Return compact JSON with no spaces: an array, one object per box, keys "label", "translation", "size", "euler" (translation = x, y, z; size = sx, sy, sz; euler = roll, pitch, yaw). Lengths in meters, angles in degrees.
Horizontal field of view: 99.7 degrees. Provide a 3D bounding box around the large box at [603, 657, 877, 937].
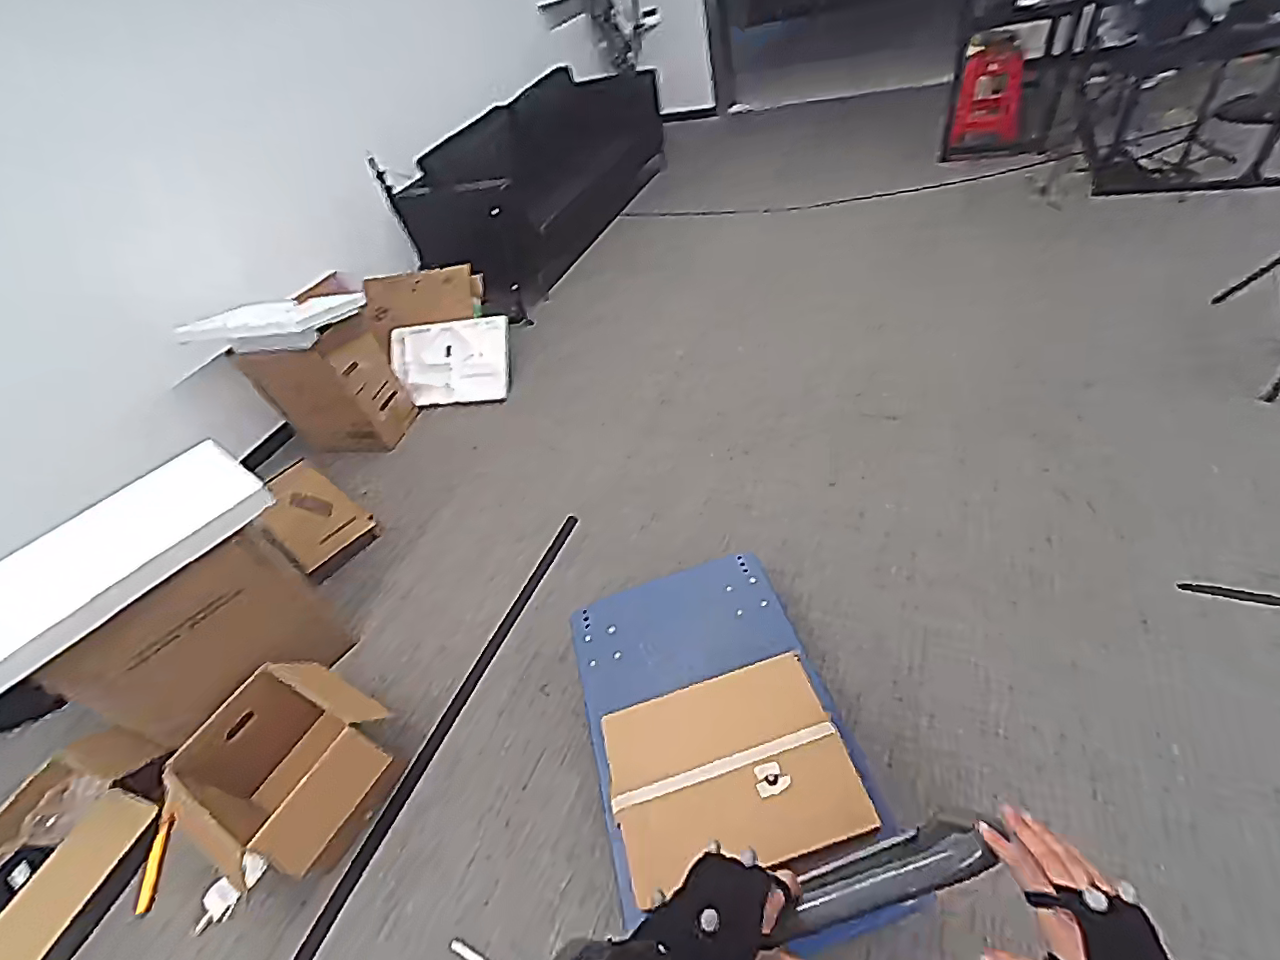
[{"label":"large box","translation":[0.180,0.613,1.049],"size":[0.408,0.320,0.320],"euler":[-18,45,-2]}]
